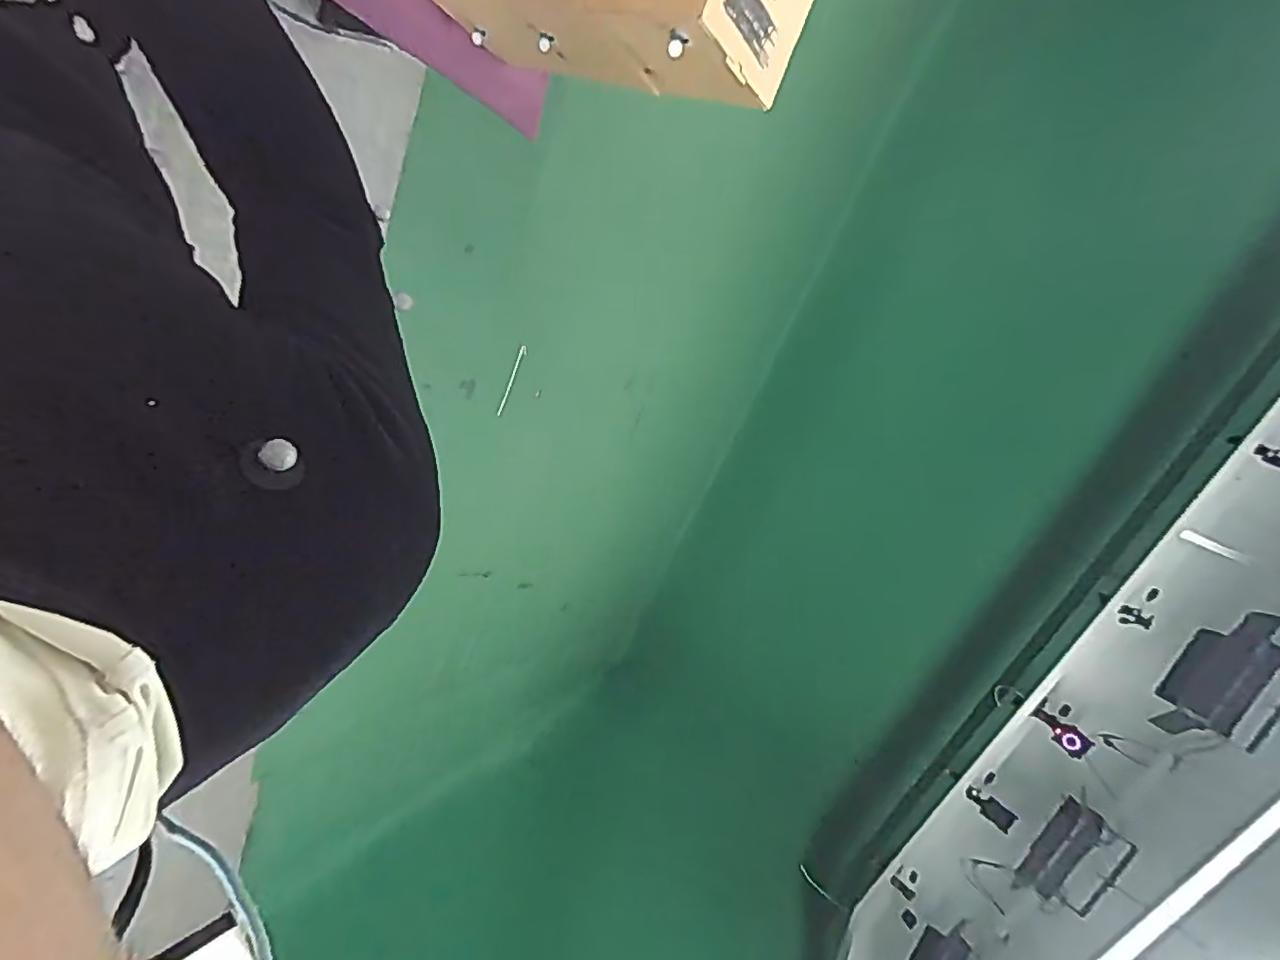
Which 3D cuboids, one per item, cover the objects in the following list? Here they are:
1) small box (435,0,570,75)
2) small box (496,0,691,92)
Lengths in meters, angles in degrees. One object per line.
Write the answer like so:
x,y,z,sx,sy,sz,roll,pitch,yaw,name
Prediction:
-0.173,-0.705,0.739,0.179,0.176,0.168,0,119,-58,small box
-0.050,-0.628,0.664,0.168,0.176,0.179,1,118,-57,small box
